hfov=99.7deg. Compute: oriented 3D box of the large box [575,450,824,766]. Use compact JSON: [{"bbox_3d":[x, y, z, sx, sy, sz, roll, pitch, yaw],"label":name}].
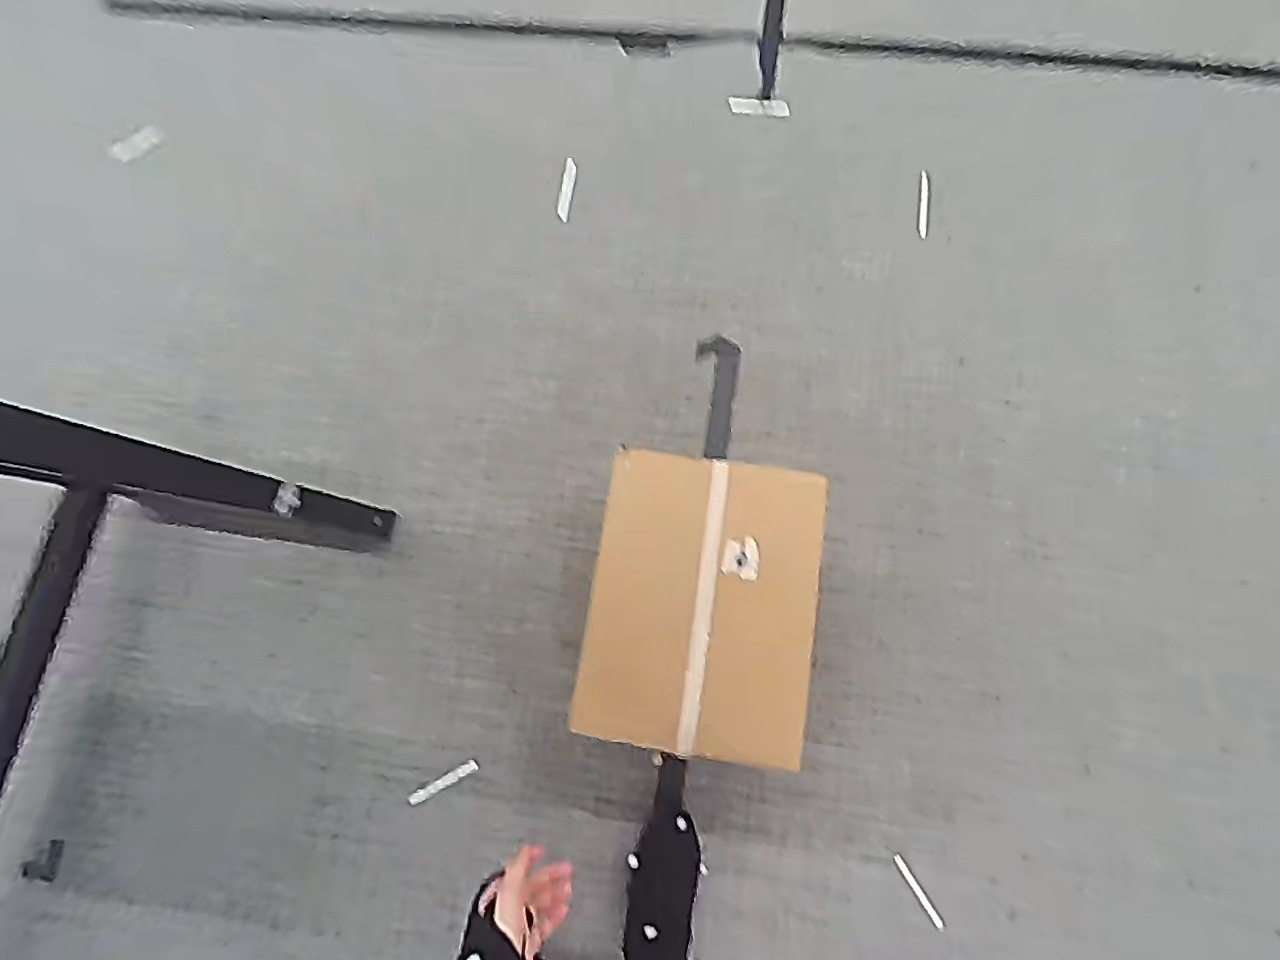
[{"bbox_3d":[0.098,0.200,0.903,0.320,0.320,0.408,9,77,4],"label":"large box"}]
